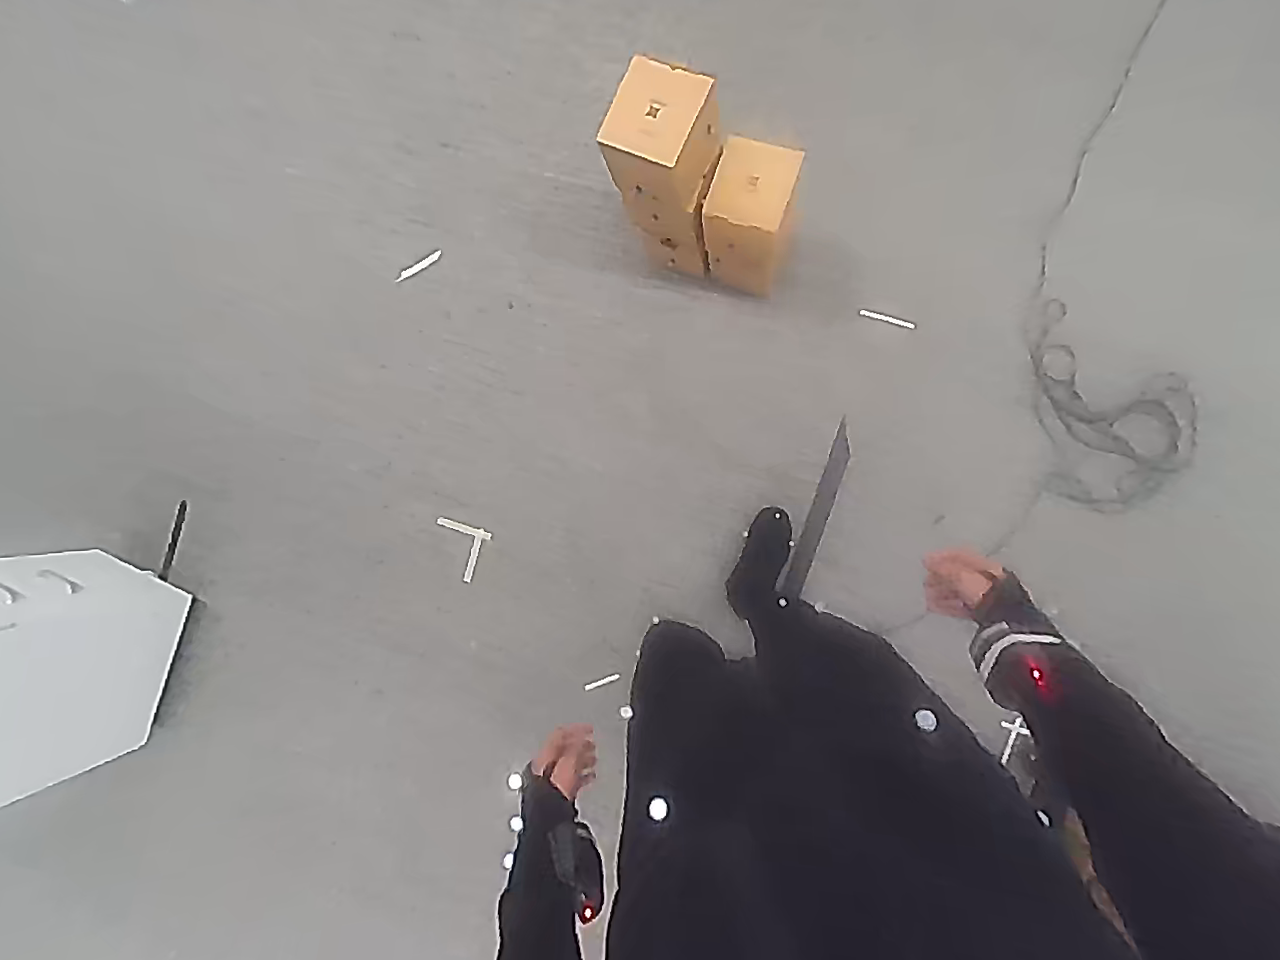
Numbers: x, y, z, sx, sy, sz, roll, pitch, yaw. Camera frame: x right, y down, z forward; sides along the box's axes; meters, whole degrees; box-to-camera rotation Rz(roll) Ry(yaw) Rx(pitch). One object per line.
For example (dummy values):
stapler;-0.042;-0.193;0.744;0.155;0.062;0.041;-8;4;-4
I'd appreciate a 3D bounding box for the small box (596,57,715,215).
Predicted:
small box;0.039;-0.667;1.068;0.168;0.176;0.179;27;93;11
